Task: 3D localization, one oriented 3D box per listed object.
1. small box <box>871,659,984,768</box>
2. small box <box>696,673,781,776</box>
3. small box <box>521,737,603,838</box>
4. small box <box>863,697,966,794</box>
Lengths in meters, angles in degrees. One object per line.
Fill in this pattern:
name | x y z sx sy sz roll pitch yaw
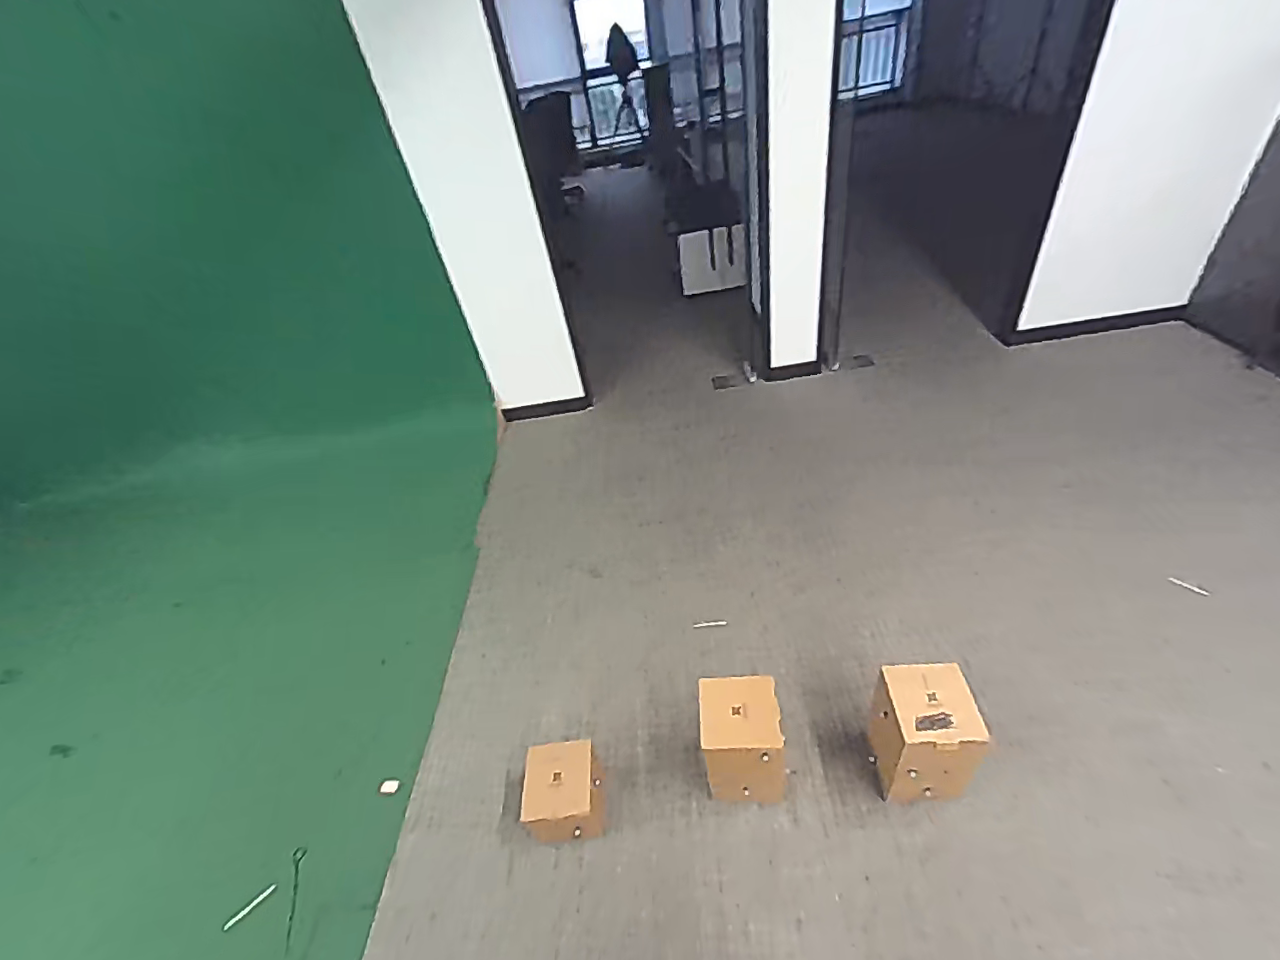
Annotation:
small box | 0.629 0.524 1.205 0.168 0.176 0.179 -5 39 8
small box | 0.229 0.569 1.256 0.179 0.176 0.168 -5 40 8
small box | -0.188 0.782 1.367 0.168 0.176 0.179 -8 39 3
small box | 0.657 0.646 1.314 0.168 0.176 0.179 -6 40 7
